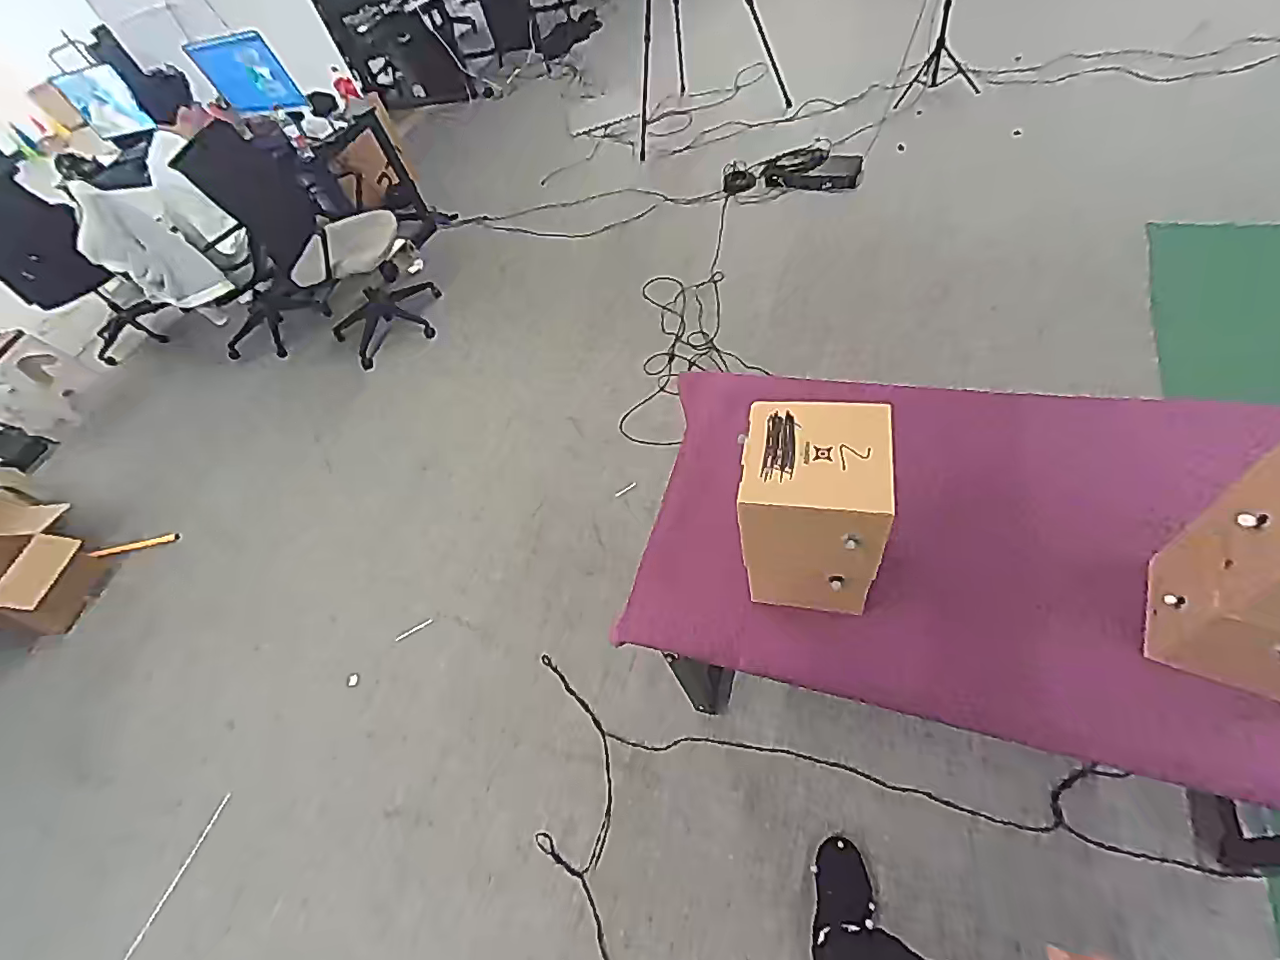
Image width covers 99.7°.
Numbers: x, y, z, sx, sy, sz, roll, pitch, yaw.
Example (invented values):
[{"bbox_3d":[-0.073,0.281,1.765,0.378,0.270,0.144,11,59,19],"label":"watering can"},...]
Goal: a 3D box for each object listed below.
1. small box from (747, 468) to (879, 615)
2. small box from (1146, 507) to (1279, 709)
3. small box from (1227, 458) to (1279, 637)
[{"bbox_3d":[0.272,0.100,0.856,0.179,0.176,0.168,4,56,19],"label":"small box"},{"bbox_3d":[0.781,0.166,0.672,0.179,0.176,0.168,19,62,26],"label":"small box"},{"bbox_3d":[0.745,0.072,0.543,0.179,0.176,0.168,15,61,26],"label":"small box"}]
